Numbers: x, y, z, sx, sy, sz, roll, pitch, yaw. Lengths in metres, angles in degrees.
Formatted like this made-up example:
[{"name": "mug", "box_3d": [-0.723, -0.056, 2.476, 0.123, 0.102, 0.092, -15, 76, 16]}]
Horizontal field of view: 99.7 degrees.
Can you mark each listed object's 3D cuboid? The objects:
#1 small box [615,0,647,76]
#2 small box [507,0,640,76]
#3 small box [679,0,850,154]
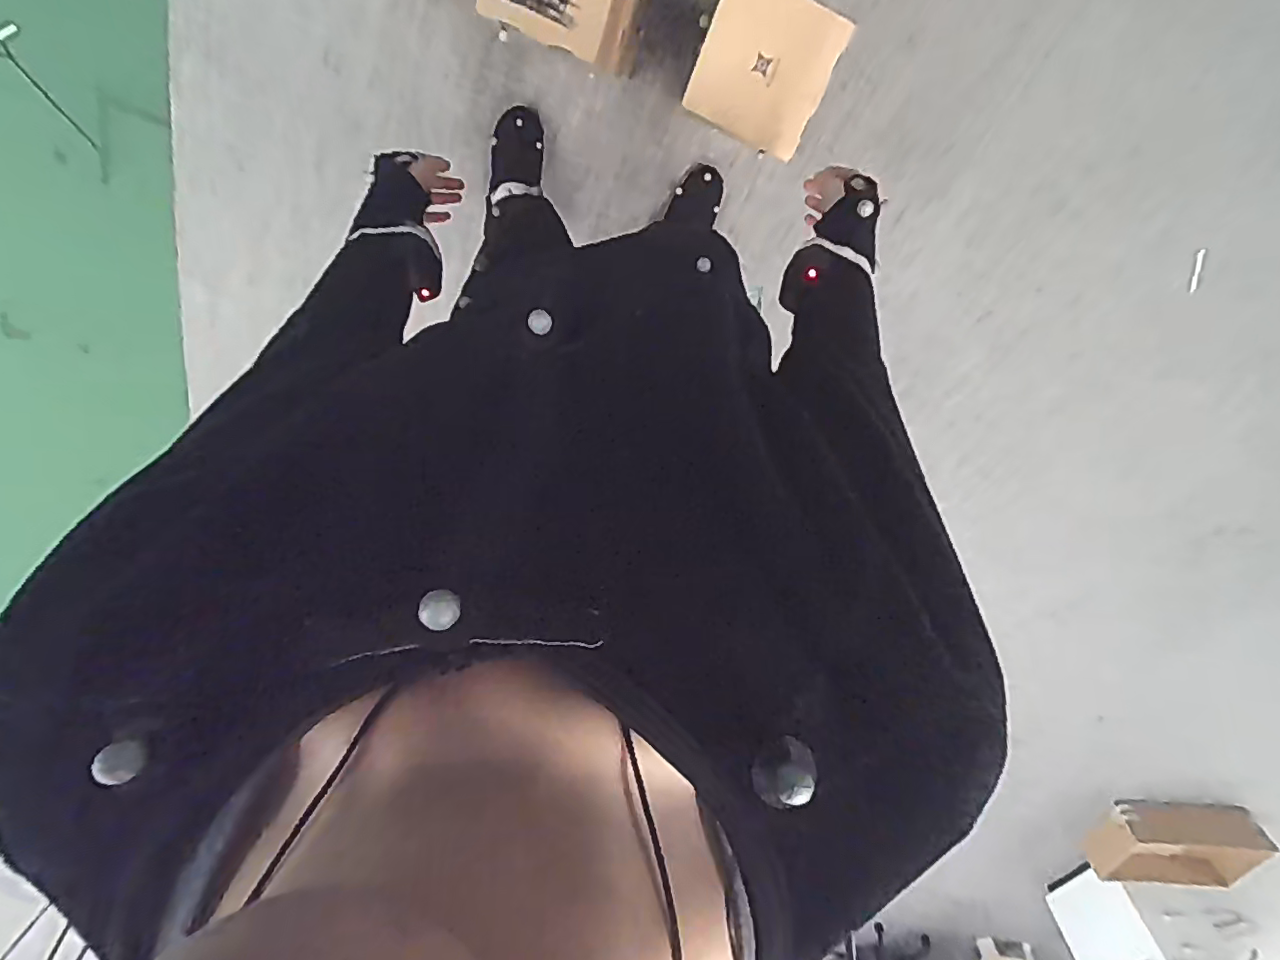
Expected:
[{"name": "small box", "box_3d": [-0.087, -0.885, 1.011, 0.179, 0.176, 0.168, 18, 122, -8]}, {"name": "small box", "box_3d": [-0.096, -0.787, 0.881, 0.179, 0.176, 0.168, 18, 122, -8]}, {"name": "small box", "box_3d": [0.166, -0.602, 0.792, 0.179, 0.176, 0.168, 20, 121, -11]}]
